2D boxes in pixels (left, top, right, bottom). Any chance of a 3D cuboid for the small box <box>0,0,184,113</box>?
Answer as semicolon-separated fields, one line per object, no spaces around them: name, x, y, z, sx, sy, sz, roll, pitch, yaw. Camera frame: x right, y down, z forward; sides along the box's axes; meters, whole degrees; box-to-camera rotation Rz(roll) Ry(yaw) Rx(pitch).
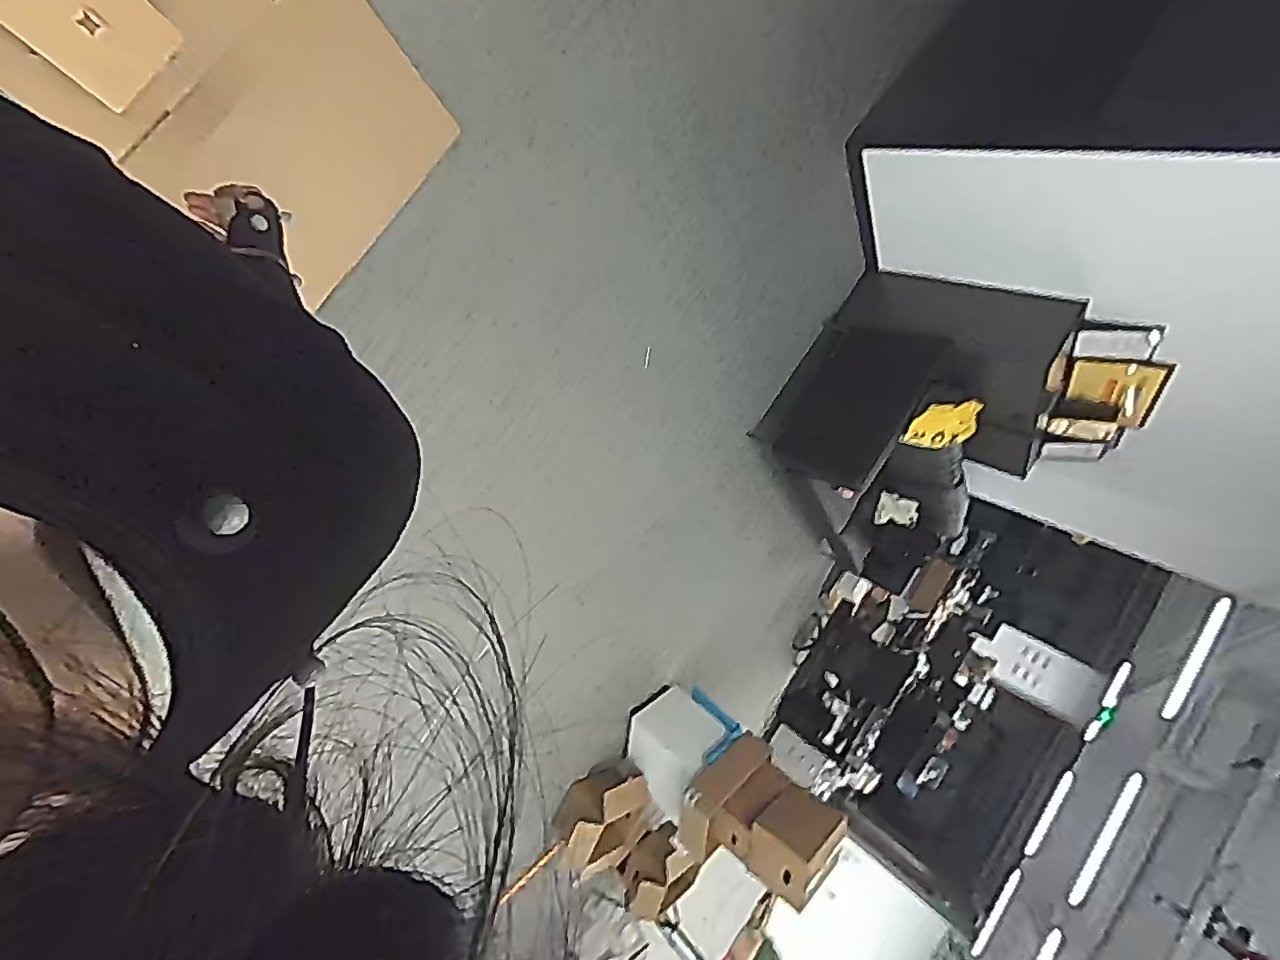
small box;-0.885;-0.720;0.862;0.179;0.176;0.168;-57;143;-6
